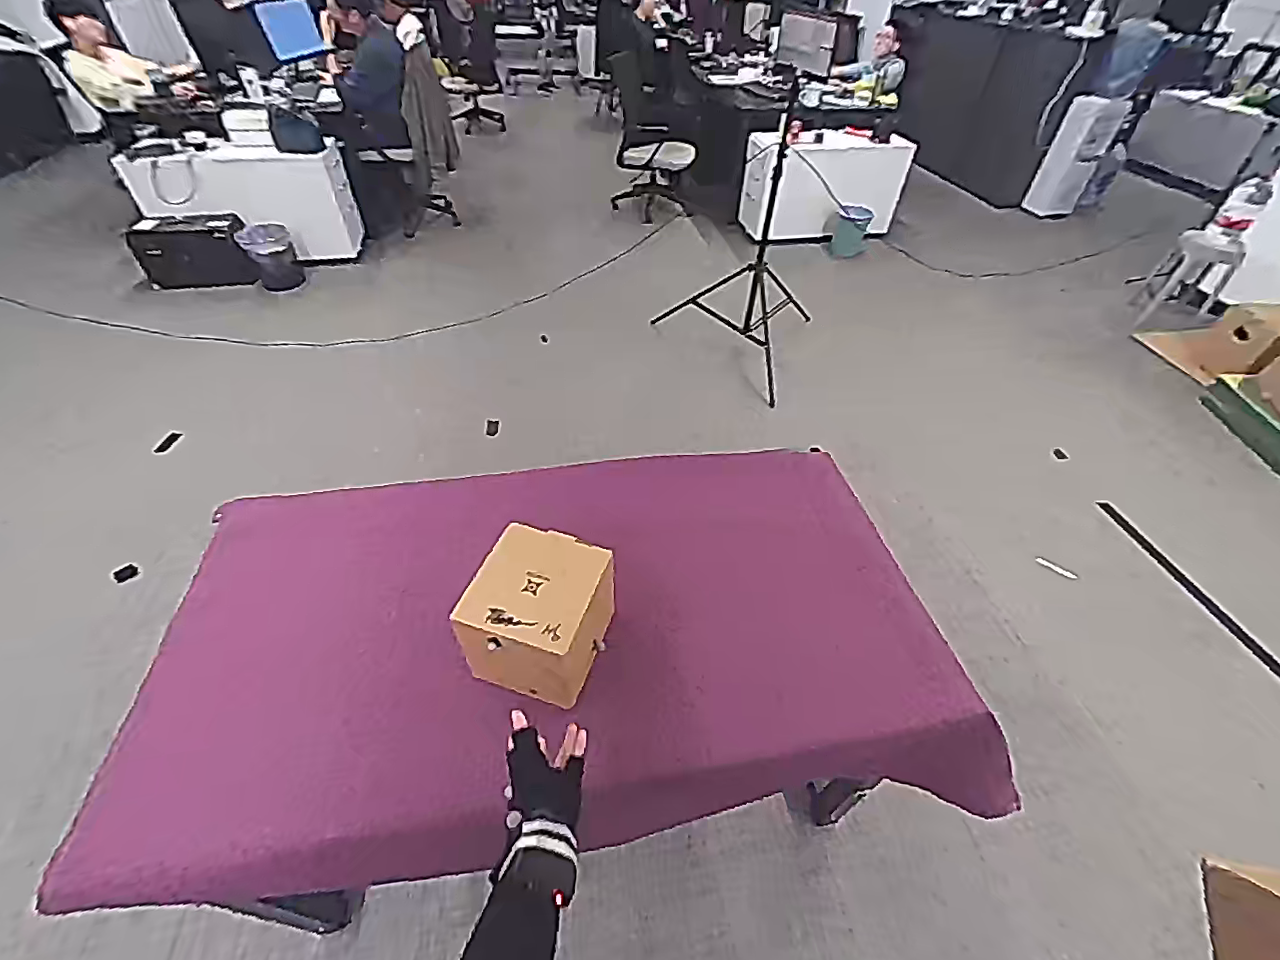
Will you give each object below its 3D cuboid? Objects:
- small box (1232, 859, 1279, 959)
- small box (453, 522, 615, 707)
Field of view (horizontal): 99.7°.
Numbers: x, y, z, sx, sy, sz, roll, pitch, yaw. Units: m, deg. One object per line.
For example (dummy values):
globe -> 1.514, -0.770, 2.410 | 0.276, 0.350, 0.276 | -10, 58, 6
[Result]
small box -> 0.422, 0.301, 0.239 | 0.168, 0.179, 0.176 | 2, 73, 23
small box -> -0.143, 0.195, 0.790 | 0.168, 0.176, 0.179 | 14, 45, 12
